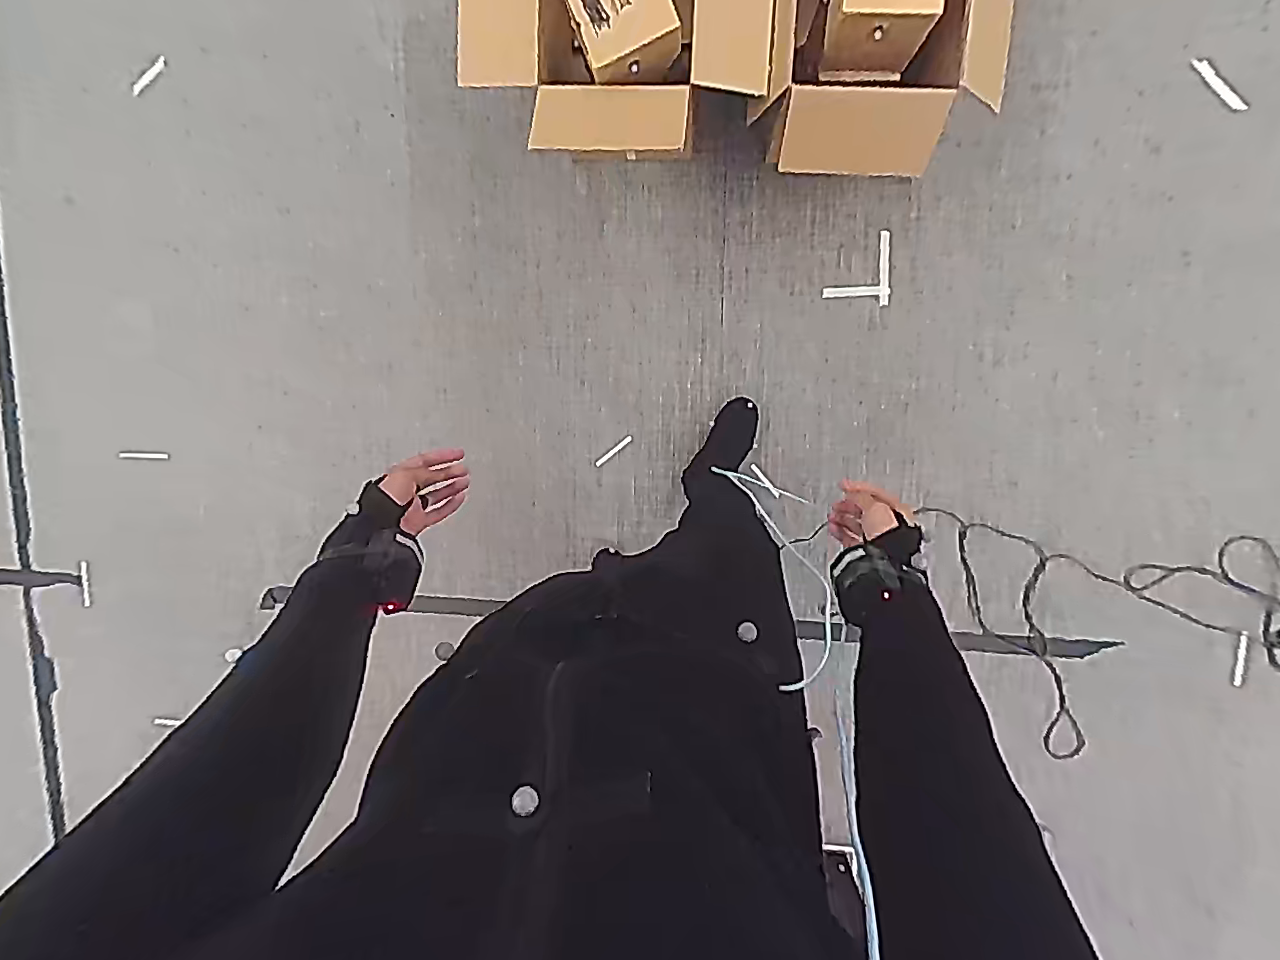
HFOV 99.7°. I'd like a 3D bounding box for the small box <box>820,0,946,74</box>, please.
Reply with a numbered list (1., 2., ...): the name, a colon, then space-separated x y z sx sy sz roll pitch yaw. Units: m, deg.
1. small box: 0.452 -0.896 1.009 0.179 0.176 0.168 4 98 5
